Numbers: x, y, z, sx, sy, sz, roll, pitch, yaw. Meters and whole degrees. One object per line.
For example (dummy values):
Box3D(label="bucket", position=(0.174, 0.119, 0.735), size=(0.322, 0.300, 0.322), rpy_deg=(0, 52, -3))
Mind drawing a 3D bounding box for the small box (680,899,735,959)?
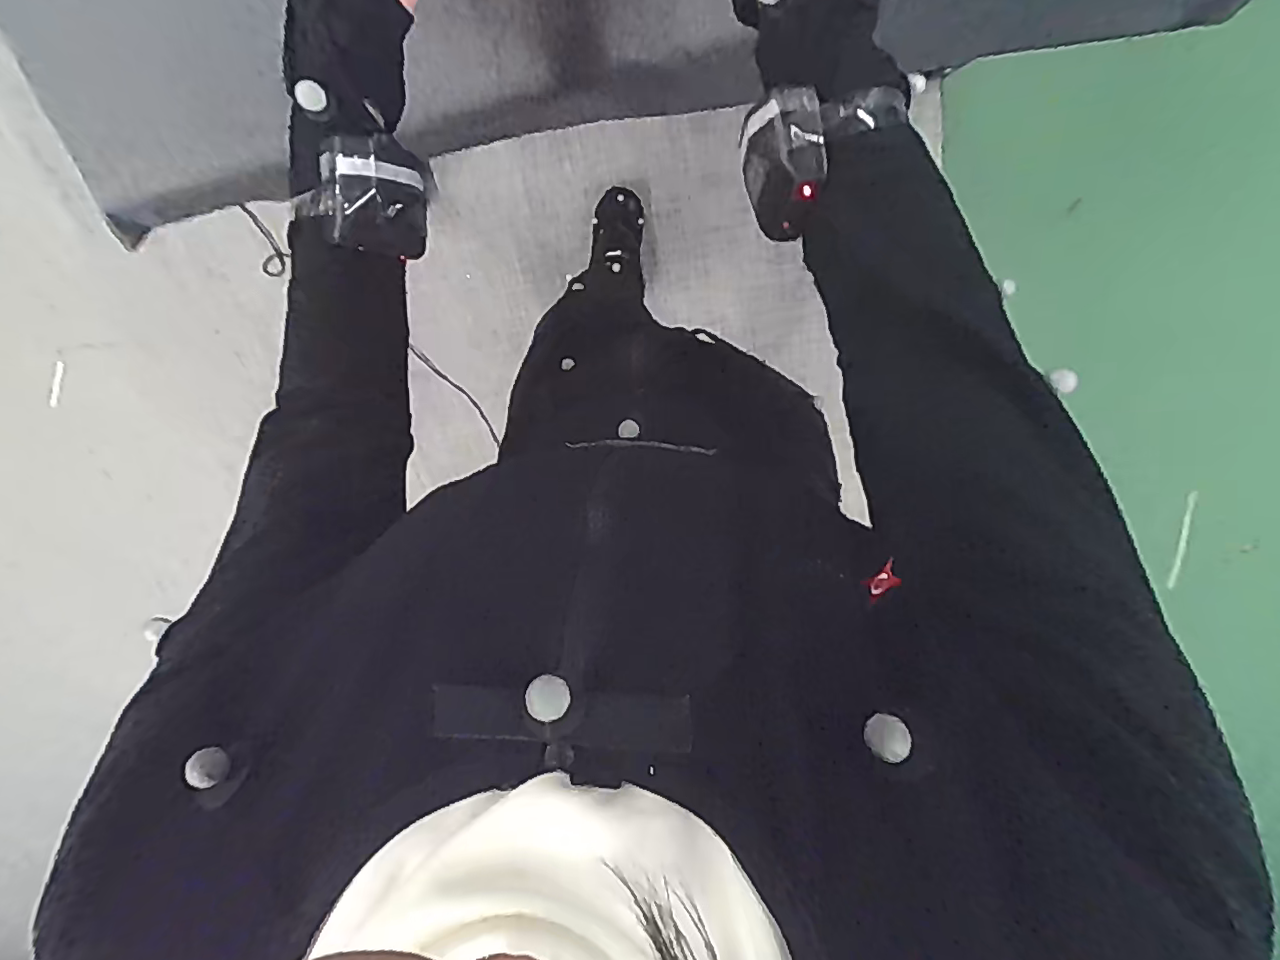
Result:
Box3D(label="small box", position=(0.244, 1.662, 1.954), size=(0.179, 0.176, 0.168), rpy_deg=(-12, 112, 6))

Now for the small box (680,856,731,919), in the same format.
Box3D(label="small box", position=(0.251, 1.608, 2.106), size=(0.179, 0.176, 0.168), rpy_deg=(-11, 114, 5))
